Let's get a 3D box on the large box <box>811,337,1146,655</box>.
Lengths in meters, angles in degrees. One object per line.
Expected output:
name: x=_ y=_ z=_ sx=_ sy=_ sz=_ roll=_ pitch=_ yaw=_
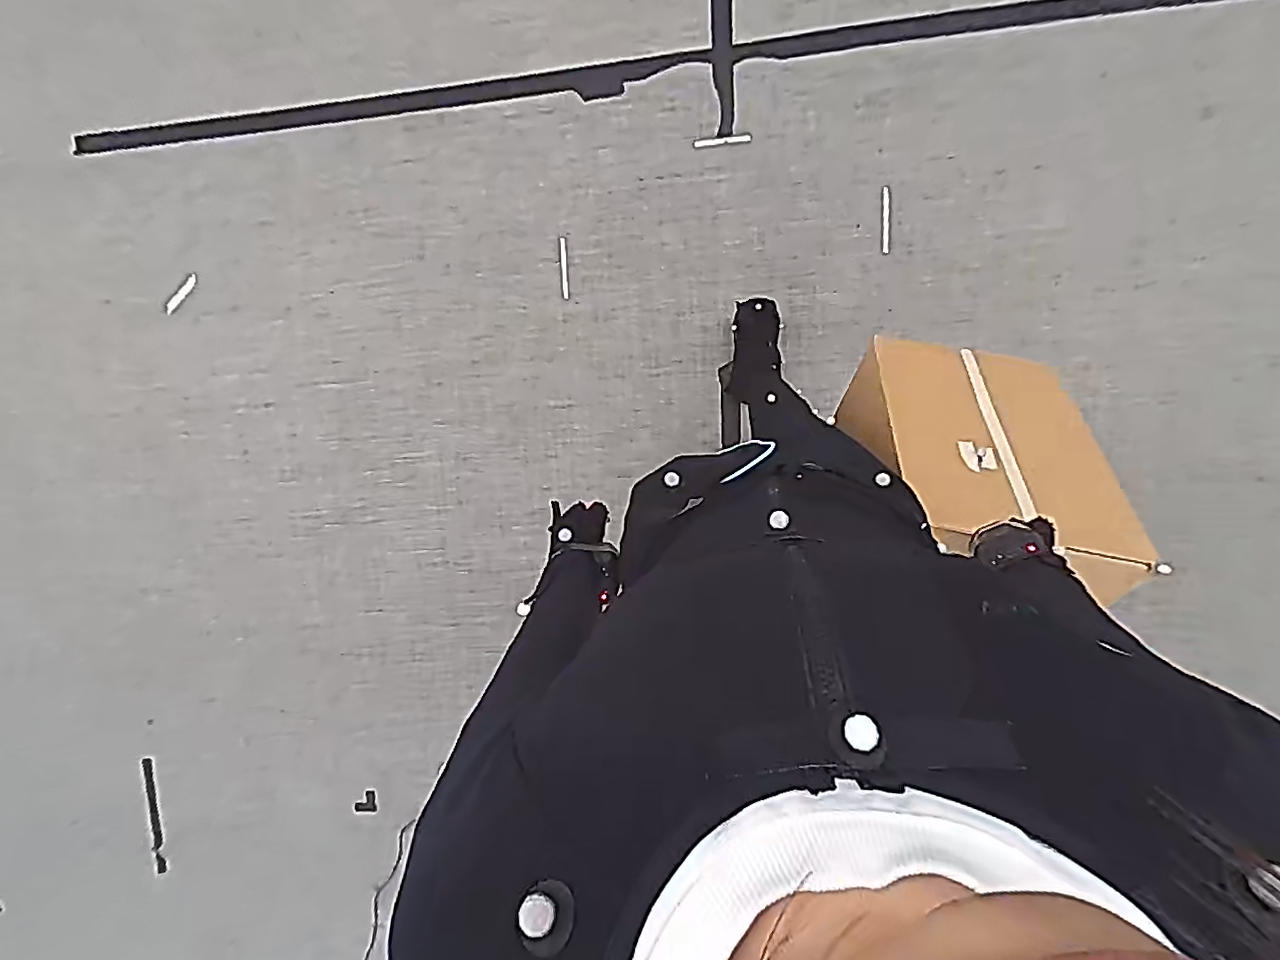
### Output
large box: x=0.495 y=0.025 z=0.911 sx=0.320 sy=0.408 sz=0.320 roll=9 pitch=141 yaw=3
